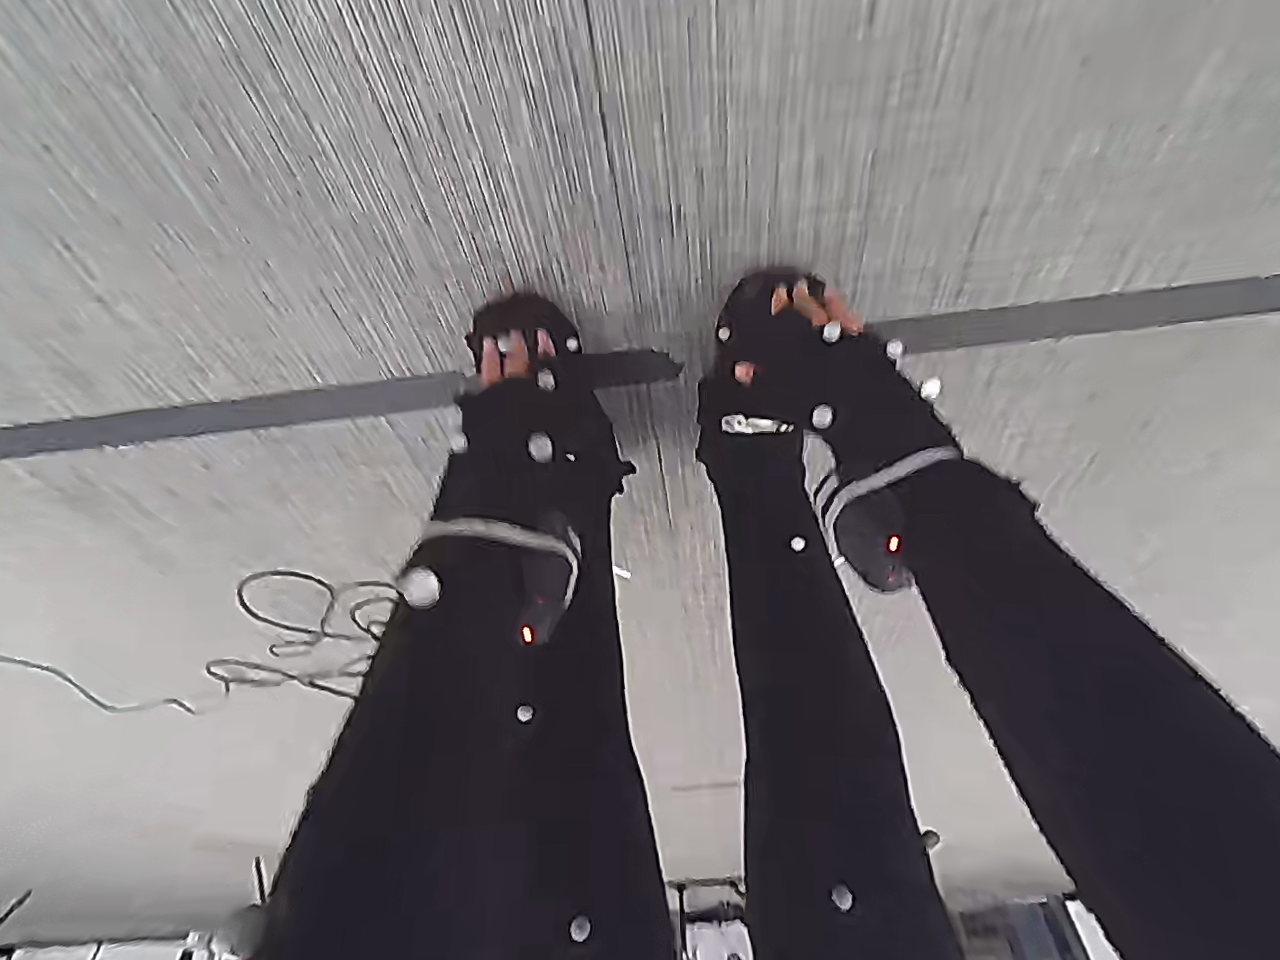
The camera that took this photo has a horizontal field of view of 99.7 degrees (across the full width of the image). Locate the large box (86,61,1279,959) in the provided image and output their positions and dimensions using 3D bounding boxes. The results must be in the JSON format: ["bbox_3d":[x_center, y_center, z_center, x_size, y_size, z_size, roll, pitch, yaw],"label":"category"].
[{"bbox_3d":[0.036,0.100,0.308,0.320,0.320,0.408,-48,161,22],"label":"large box"}]
